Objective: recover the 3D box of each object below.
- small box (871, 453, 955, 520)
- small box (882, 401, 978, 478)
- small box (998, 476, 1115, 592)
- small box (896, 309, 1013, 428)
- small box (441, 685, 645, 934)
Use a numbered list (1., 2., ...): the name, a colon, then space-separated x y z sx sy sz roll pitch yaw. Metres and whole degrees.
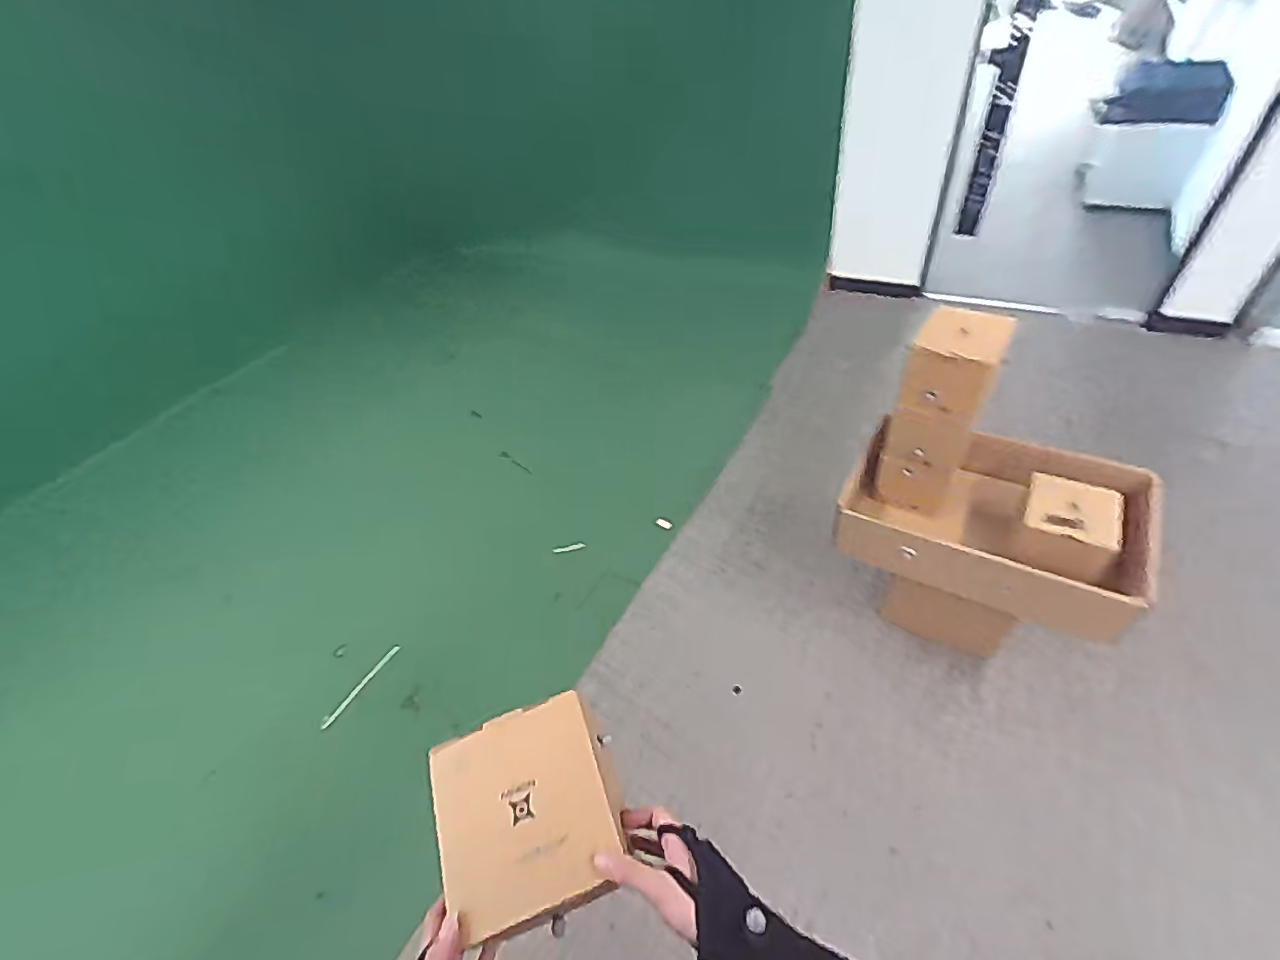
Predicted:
1. small box: 0.733 -0.027 1.439 0.168 0.176 0.179 21 54 28
2. small box: 0.711 -0.138 1.321 0.168 0.176 0.179 23 55 30
3. small box: 0.952 0.127 1.246 0.168 0.176 0.179 19 52 26
4. small box: 0.691 -0.248 1.203 0.168 0.176 0.179 24 57 30
5. small box: -0.101 0.358 0.591 0.168 0.176 0.179 -18 52 -7
